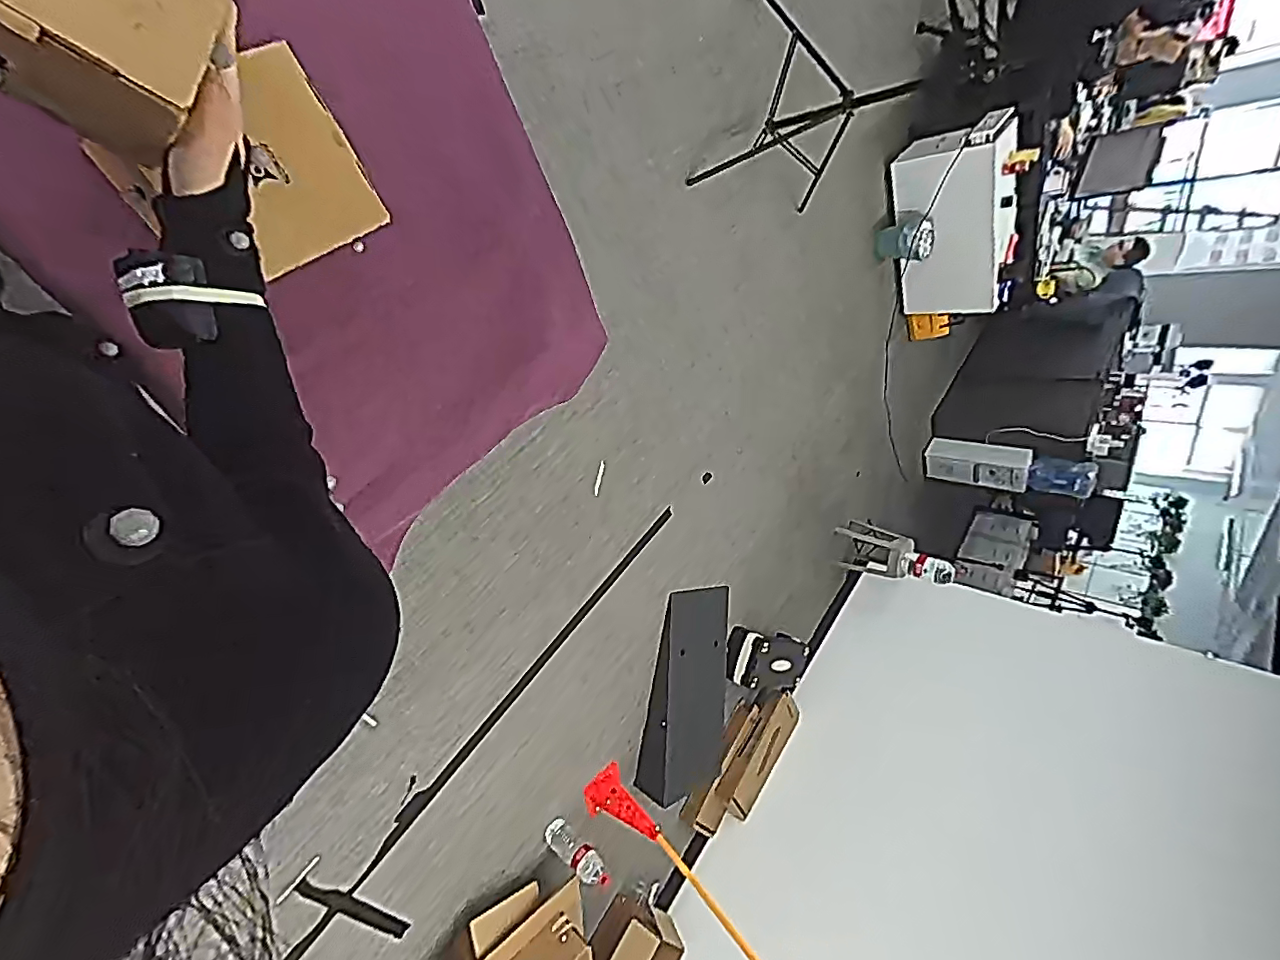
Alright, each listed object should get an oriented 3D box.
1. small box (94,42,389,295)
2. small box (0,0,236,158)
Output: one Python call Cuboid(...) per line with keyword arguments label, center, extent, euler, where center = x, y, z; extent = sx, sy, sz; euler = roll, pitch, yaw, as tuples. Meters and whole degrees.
Cuboid(label="small box", center=(-0.410, -0.307, 0.562), extent=(0.179, 0.176, 0.168), euler=(-47, 130, -28))
Cuboid(label="small box", center=(-0.347, -0.329, 0.318), extent=(0.168, 0.176, 0.179), euler=(20, 87, -48))
